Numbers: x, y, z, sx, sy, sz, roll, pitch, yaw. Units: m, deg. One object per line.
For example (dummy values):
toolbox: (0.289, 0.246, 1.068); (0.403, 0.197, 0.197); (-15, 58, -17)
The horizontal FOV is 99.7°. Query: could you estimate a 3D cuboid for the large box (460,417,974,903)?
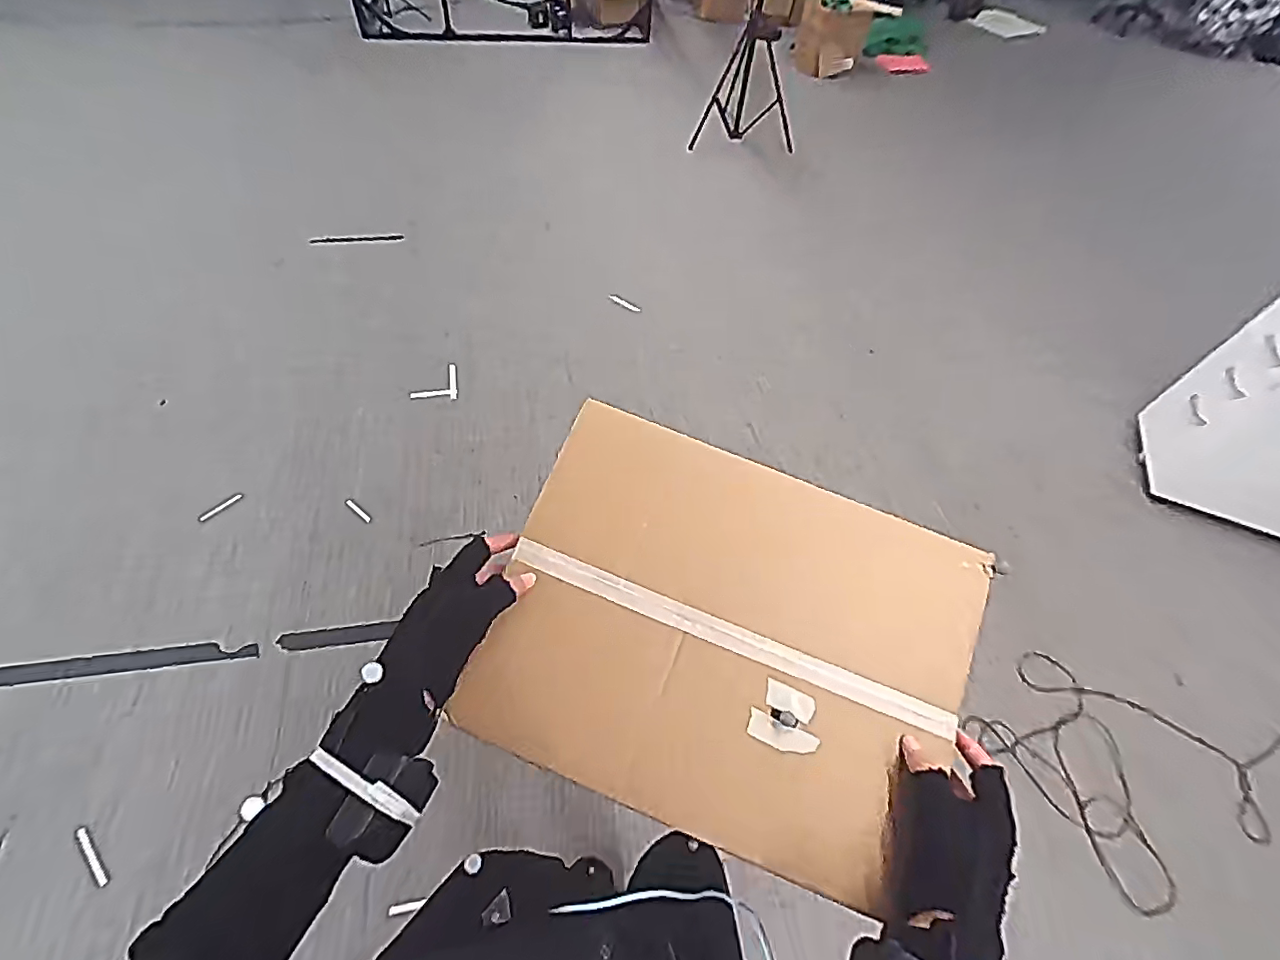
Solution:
large box: (0.075, 0.178, 0.634); (0.408, 0.320, 0.320); (22, 77, 4)
